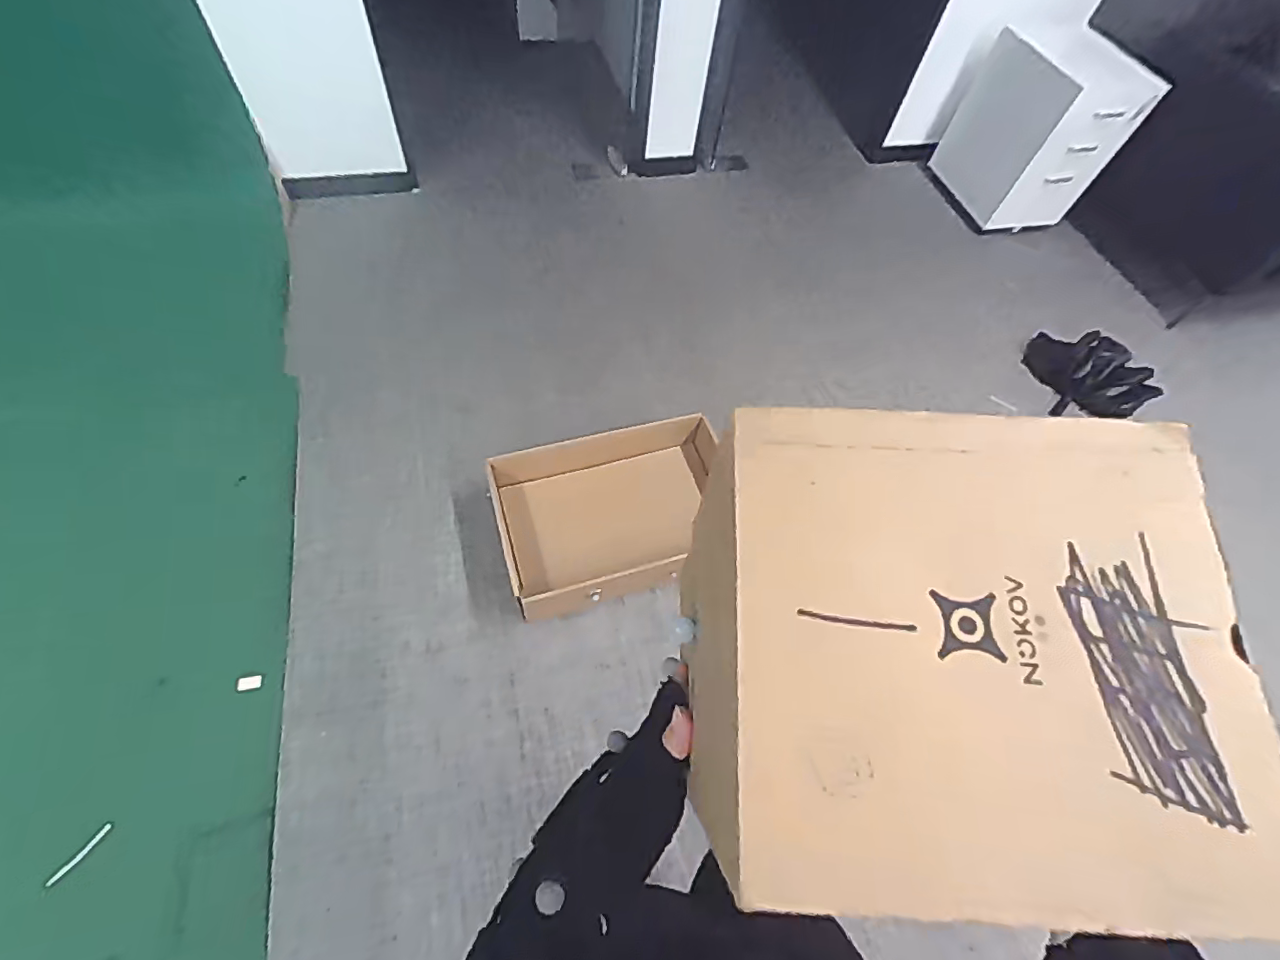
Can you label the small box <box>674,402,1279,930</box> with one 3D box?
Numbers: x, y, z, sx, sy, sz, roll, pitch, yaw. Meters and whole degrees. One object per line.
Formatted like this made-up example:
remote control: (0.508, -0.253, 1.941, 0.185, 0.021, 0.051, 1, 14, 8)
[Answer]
small box: (0.112, 0.079, 0.264, 0.179, 0.176, 0.168, 3, 69, 3)
